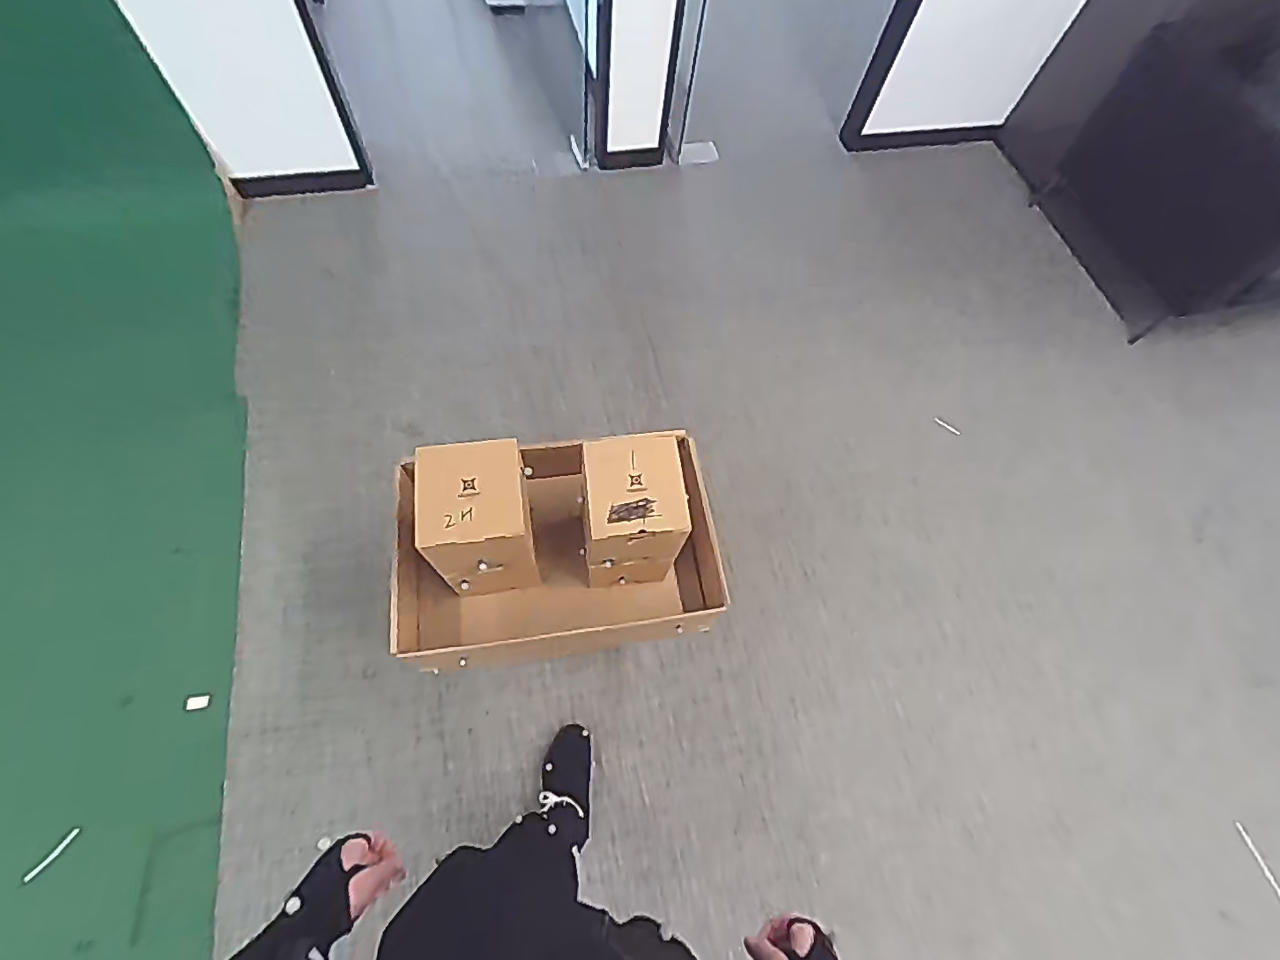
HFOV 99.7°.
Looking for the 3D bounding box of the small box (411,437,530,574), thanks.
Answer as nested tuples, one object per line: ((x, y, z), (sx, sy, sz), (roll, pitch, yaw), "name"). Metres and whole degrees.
((-0.284, 0.047, 0.927), (0.168, 0.176, 0.179), (-6, 66, -8), "small box")

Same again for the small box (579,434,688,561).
((-0.019, 0.039, 0.962), (0.168, 0.176, 0.179), (-4, 65, -8), "small box")
